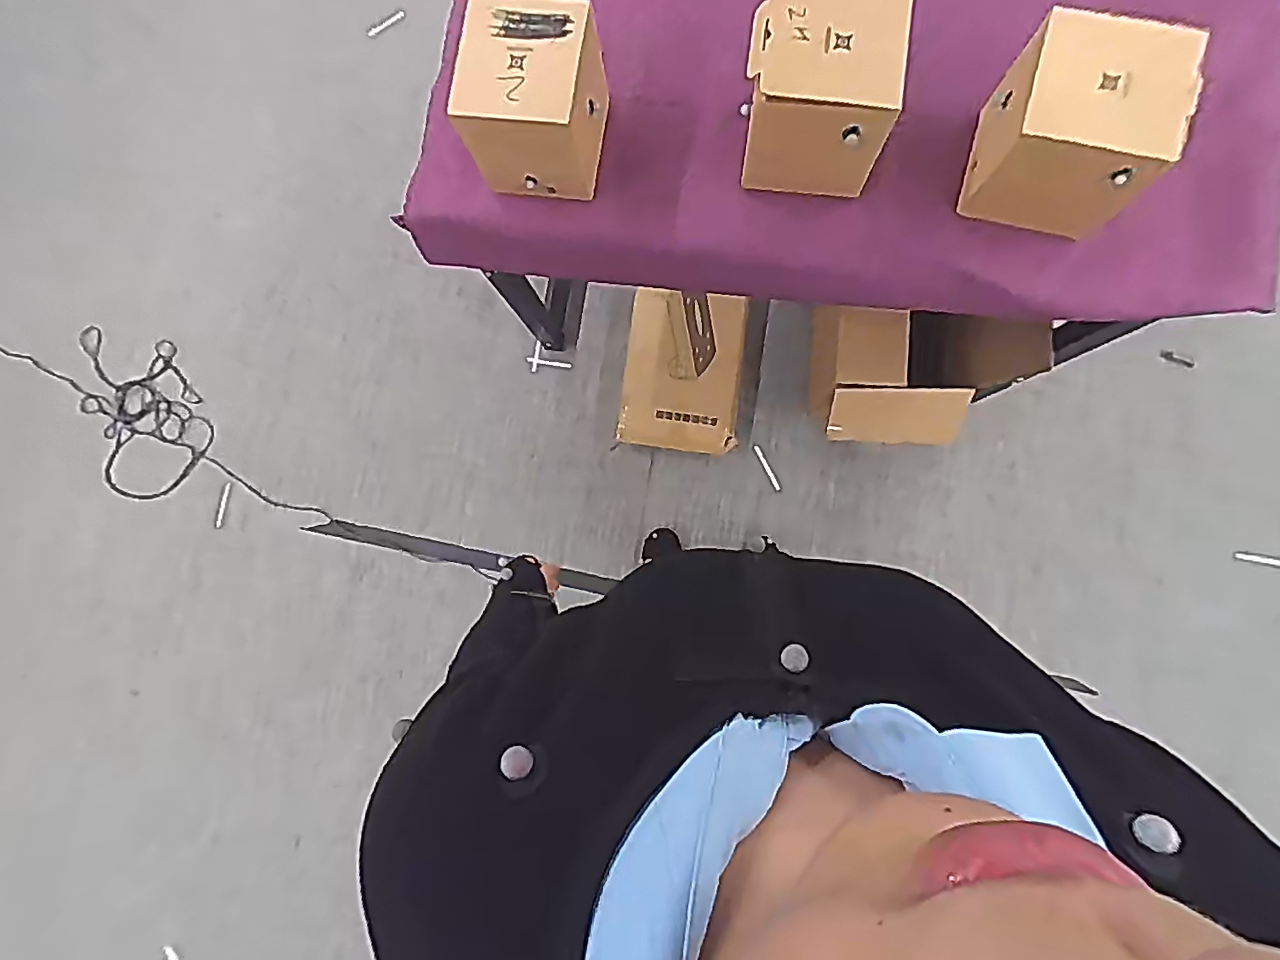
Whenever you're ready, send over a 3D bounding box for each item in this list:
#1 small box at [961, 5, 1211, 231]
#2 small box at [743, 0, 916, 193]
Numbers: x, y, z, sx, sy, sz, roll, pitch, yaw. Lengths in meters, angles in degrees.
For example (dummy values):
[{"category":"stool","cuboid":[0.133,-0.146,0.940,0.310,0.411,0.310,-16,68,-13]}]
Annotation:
[{"category":"small box","cuboid":[0.555,-0.451,0.700,0.179,0.176,0.168,15,87,6]},{"category":"small box","cuboid":[0.245,-0.518,0.733,0.179,0.176,0.168,8,83,6]}]
